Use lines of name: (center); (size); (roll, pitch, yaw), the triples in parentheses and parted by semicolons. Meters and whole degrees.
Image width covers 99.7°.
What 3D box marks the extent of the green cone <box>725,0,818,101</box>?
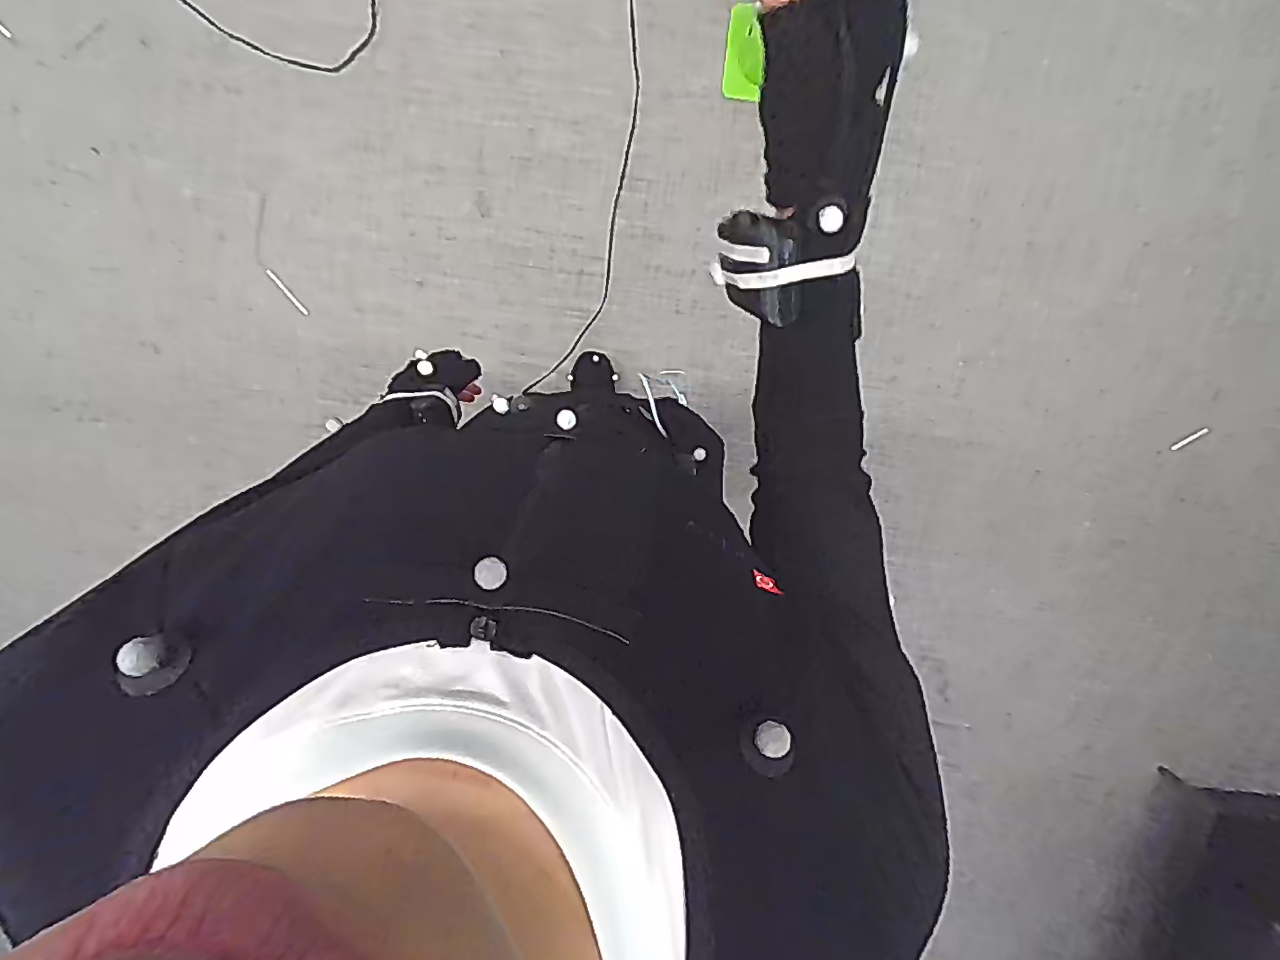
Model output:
green cone: (0.303, -0.980, 1.106); (0.202, 0.368, 0.200); (6, 100, 1)
